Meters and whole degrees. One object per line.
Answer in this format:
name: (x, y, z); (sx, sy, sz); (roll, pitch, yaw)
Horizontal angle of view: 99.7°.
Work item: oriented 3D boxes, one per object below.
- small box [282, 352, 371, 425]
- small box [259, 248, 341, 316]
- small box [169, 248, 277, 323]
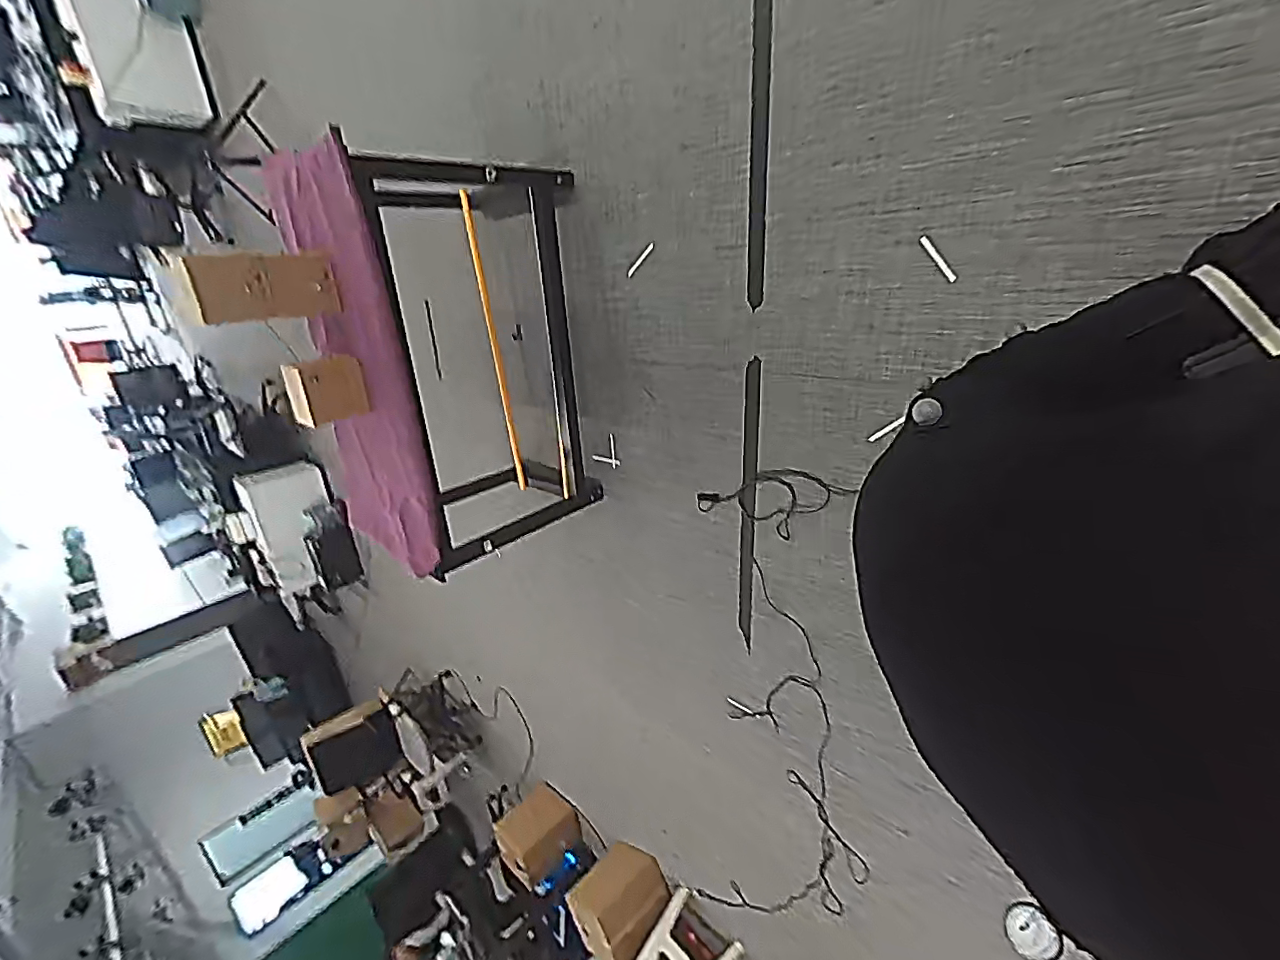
small box: (-0.937, -0.279, 1.627); (0.168, 0.176, 0.179); (16, 119, 40)
small box: (-0.977, -0.563, 1.530); (0.179, 0.176, 0.168); (19, 122, 38)
small box: (-1.087, -0.514, 1.418); (0.179, 0.176, 0.168); (19, 122, 38)
